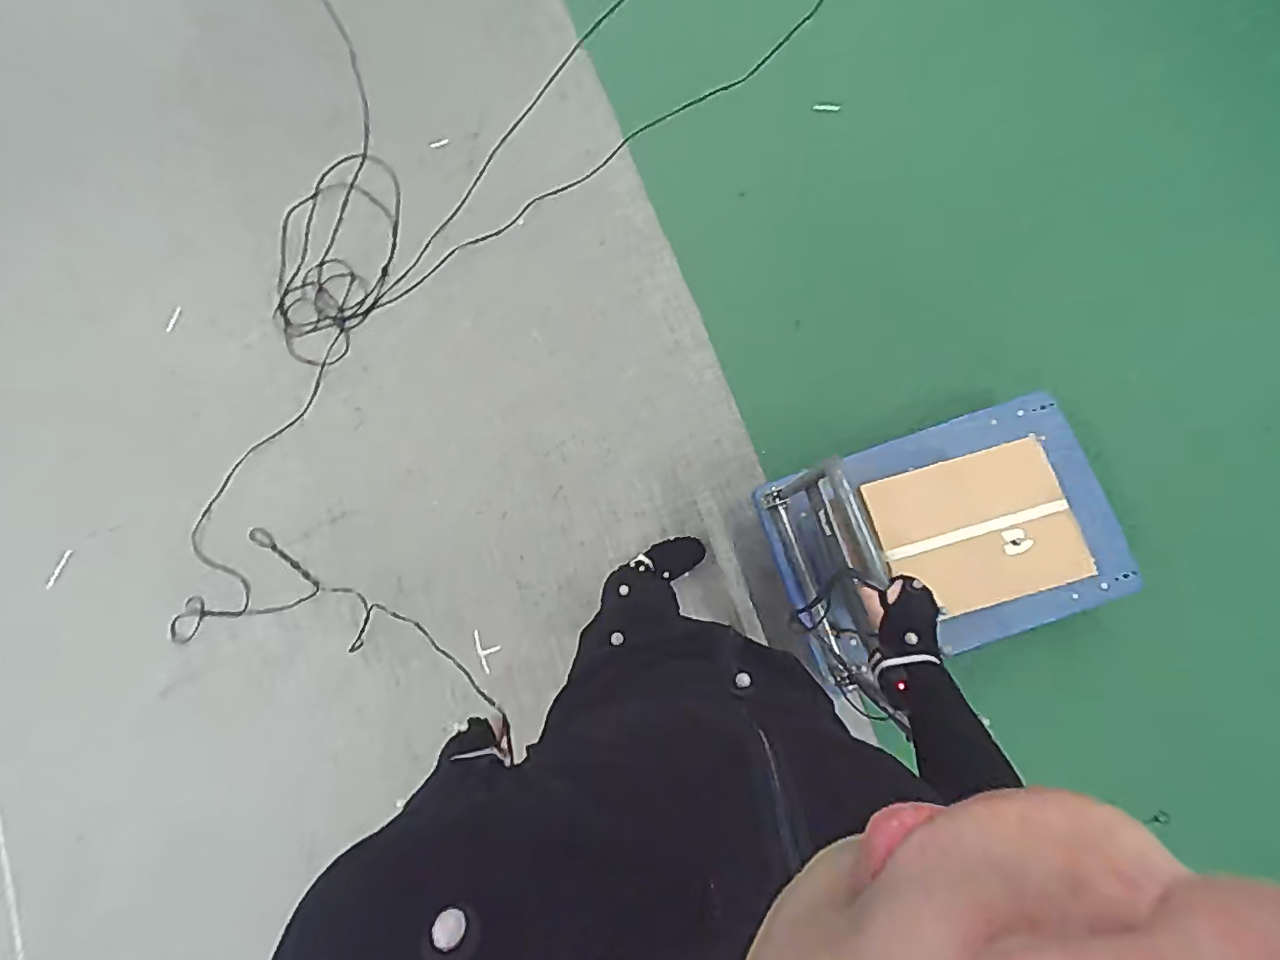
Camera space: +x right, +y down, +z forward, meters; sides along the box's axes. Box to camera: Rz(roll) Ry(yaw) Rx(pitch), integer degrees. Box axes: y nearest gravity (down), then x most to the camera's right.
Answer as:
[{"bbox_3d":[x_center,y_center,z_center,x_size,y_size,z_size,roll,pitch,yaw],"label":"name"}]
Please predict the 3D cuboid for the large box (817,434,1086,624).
[{"bbox_3d":[0.700,0.127,1.290,0.408,0.320,0.320,-16,80,-1],"label":"large box"}]
